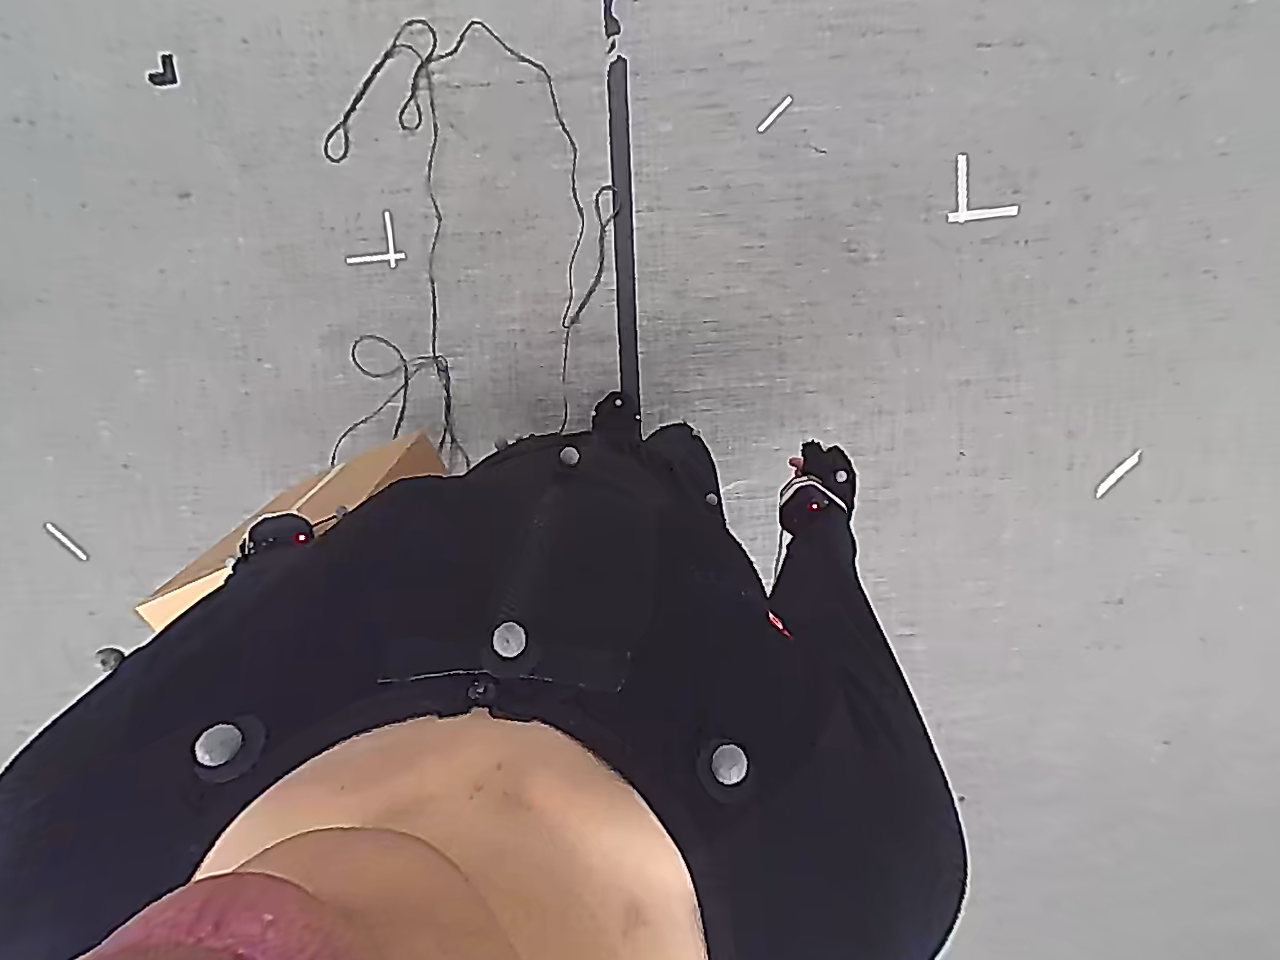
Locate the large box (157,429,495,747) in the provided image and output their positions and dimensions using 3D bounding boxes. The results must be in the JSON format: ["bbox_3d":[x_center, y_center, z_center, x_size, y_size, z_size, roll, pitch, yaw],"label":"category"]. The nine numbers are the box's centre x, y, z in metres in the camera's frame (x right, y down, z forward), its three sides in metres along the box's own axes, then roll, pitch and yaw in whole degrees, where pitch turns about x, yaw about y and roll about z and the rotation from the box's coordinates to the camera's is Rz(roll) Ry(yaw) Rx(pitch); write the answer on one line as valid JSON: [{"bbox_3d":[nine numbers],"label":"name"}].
[{"bbox_3d":[-0.474,0.156,0.945,0.320,0.408,0.320,-26,113,1],"label":"large box"}]
